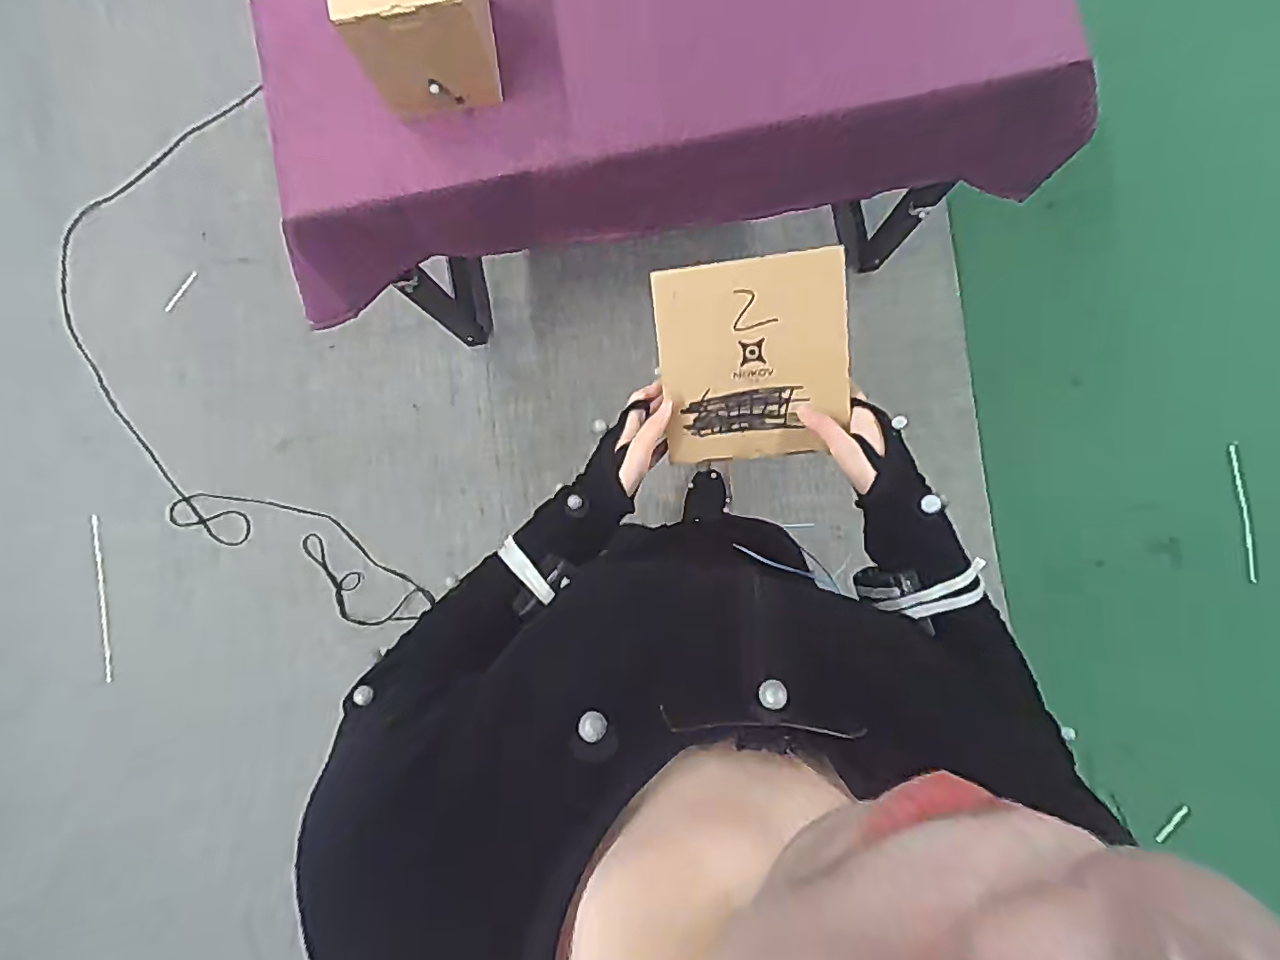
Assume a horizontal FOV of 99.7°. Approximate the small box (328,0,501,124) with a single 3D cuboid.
[{"bbox_3d":[-0.301,-0.635,0.737,0.168,0.176,0.179,-9,86,2],"label":"small box"}]
